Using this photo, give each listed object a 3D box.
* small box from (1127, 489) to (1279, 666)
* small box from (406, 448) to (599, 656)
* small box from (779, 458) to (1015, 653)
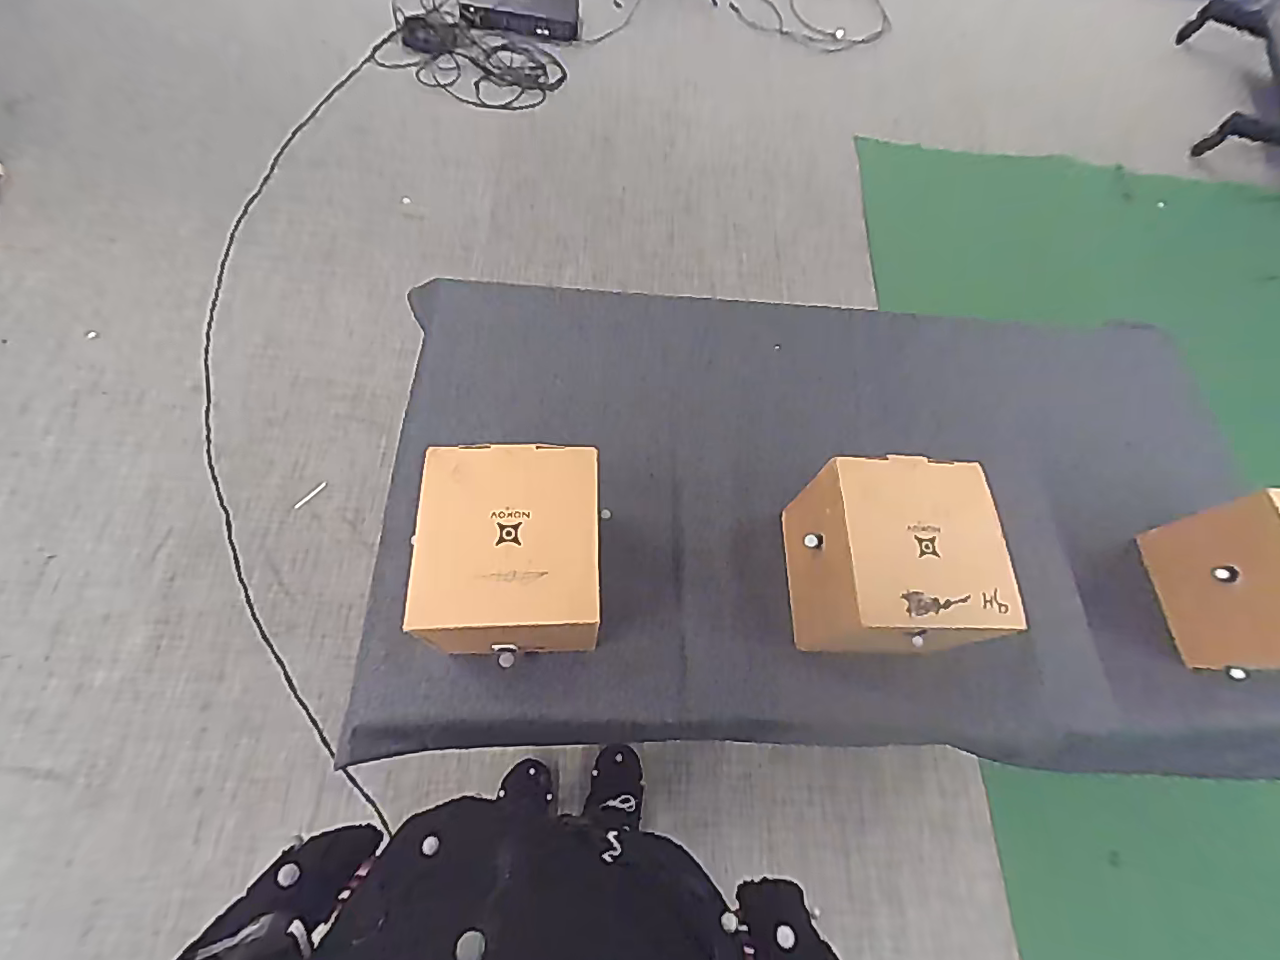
[{"bbox_3d":[0.756,0.125,0.648,0.168,0.176,0.179,2,64,-3],"label":"small box"},{"bbox_3d":[-0.130,0.081,0.572,0.168,0.176,0.179,-1,65,-6],"label":"small box"},{"bbox_3d":[0.268,0.093,0.613,0.168,0.176,0.179,2,65,-5],"label":"small box"}]
